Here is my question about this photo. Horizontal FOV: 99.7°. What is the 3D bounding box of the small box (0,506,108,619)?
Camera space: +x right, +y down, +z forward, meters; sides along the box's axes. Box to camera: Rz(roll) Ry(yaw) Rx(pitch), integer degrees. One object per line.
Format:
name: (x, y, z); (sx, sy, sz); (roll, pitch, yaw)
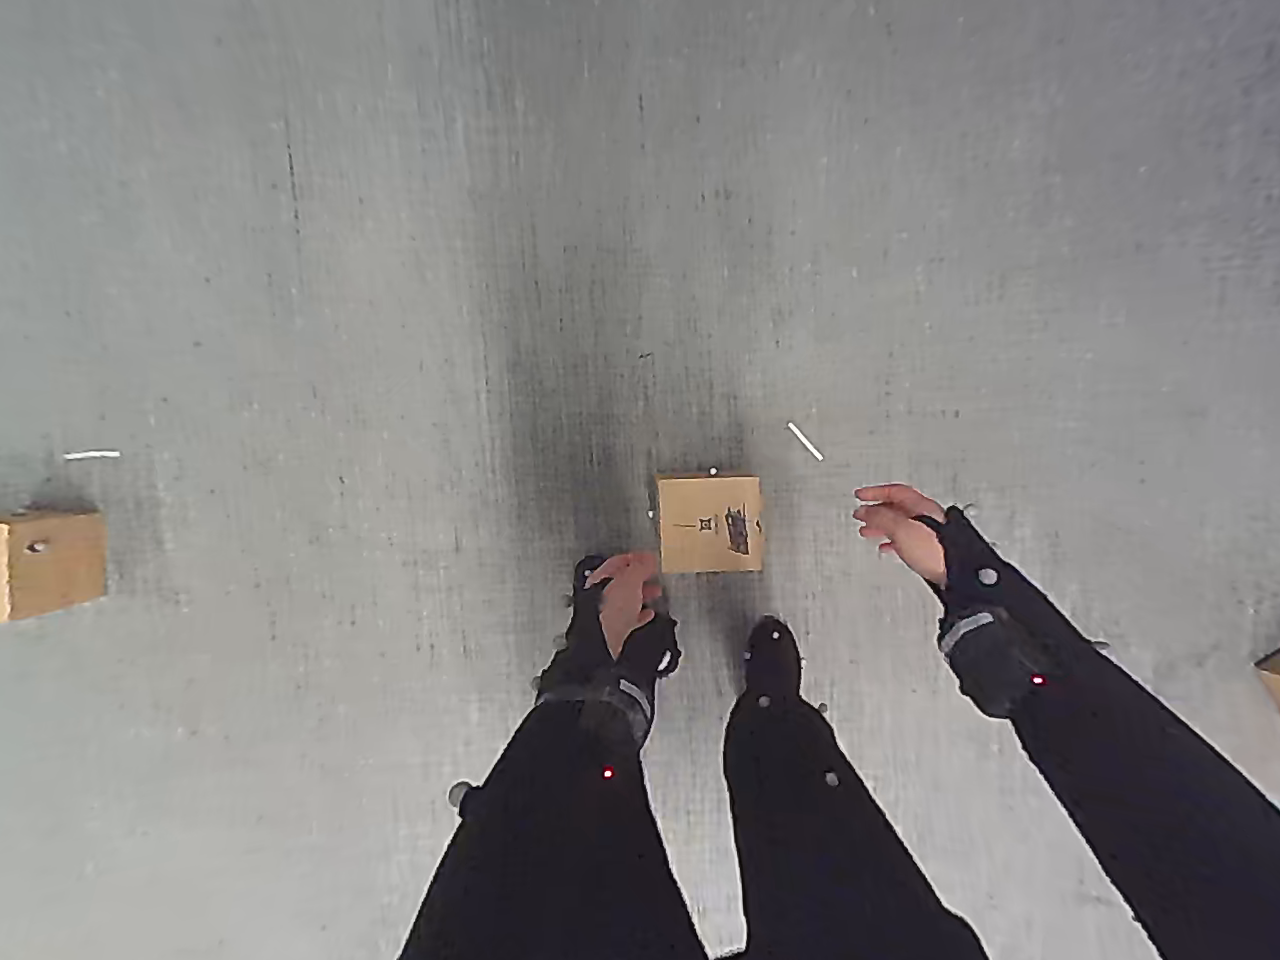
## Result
small box: (-1.146, 0.144, 1.003); (0.168, 0.176, 0.179); (3, 94, 0)

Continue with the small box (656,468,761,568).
small box: (0.122, 0.065, 1.018); (0.179, 0.176, 0.168); (-2, 94, 0)
